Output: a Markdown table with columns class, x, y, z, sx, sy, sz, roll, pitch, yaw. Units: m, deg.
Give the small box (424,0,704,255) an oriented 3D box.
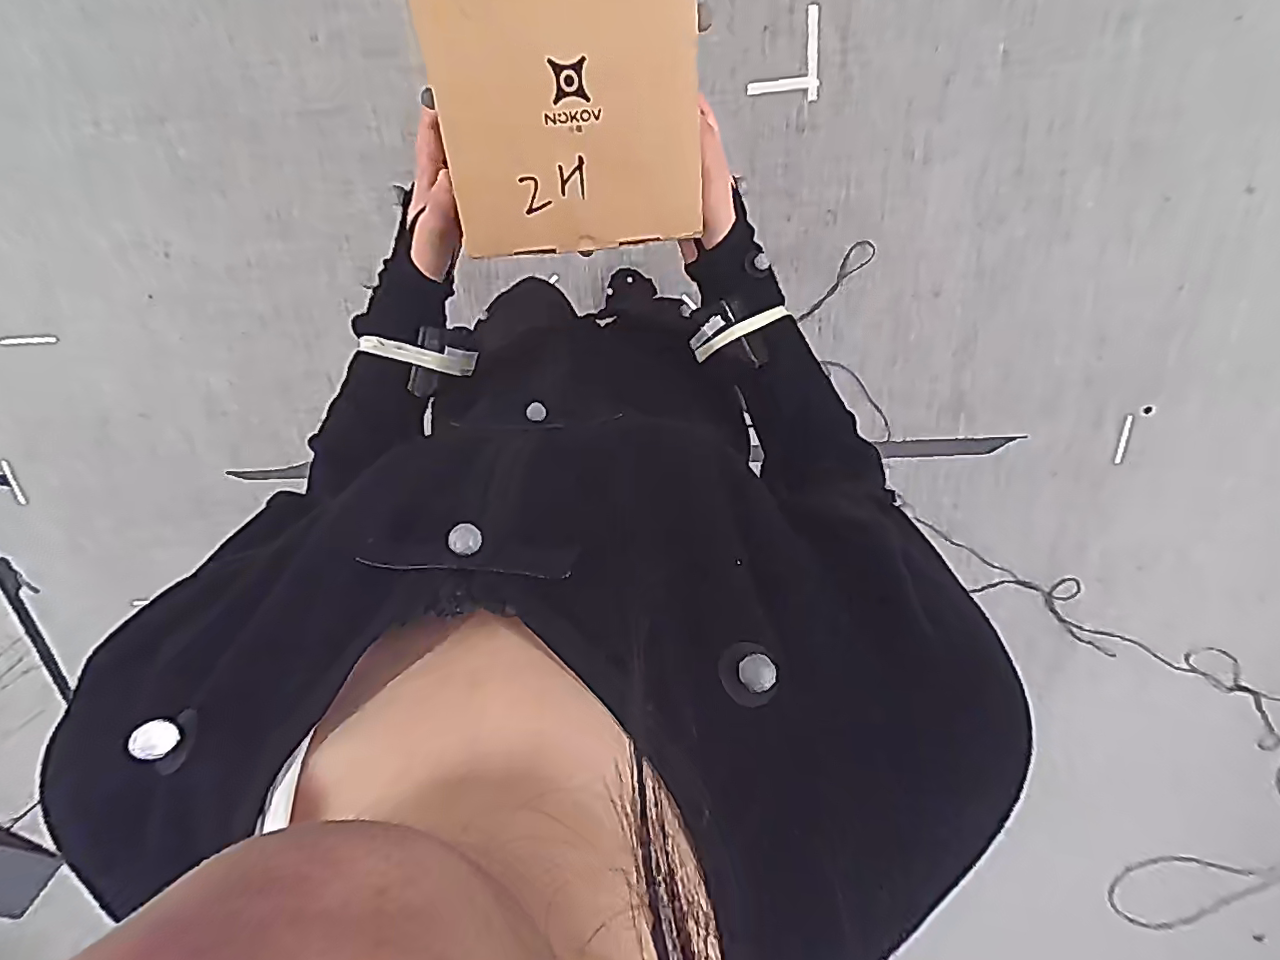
| class | x | y | z | sx | sy | sz | roll | pitch | yaw |
| --- | --- | --- | --- | --- | --- | --- | --- | --- | --- |
| small box | -0.050 | -0.276 | 0.409 | 0.168 | 0.176 | 0.179 | -7 | 118 | -3 |
